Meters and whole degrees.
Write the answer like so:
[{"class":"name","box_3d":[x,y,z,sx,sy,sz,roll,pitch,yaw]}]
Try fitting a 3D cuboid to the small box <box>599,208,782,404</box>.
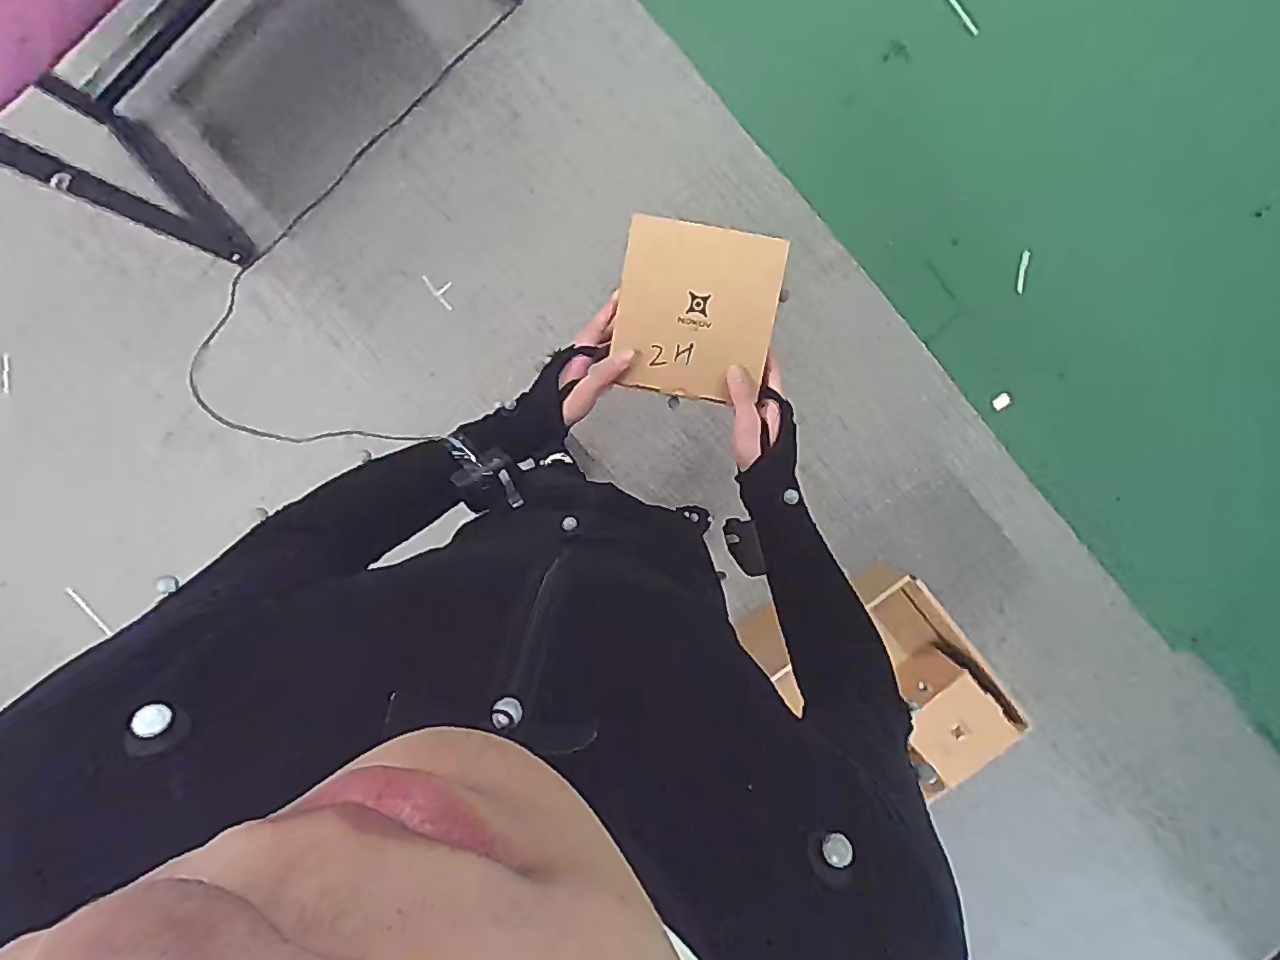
[{"class":"small box","box_3d":[0.053,-0.190,0.640,0.168,0.176,0.179,10,99,1]}]
